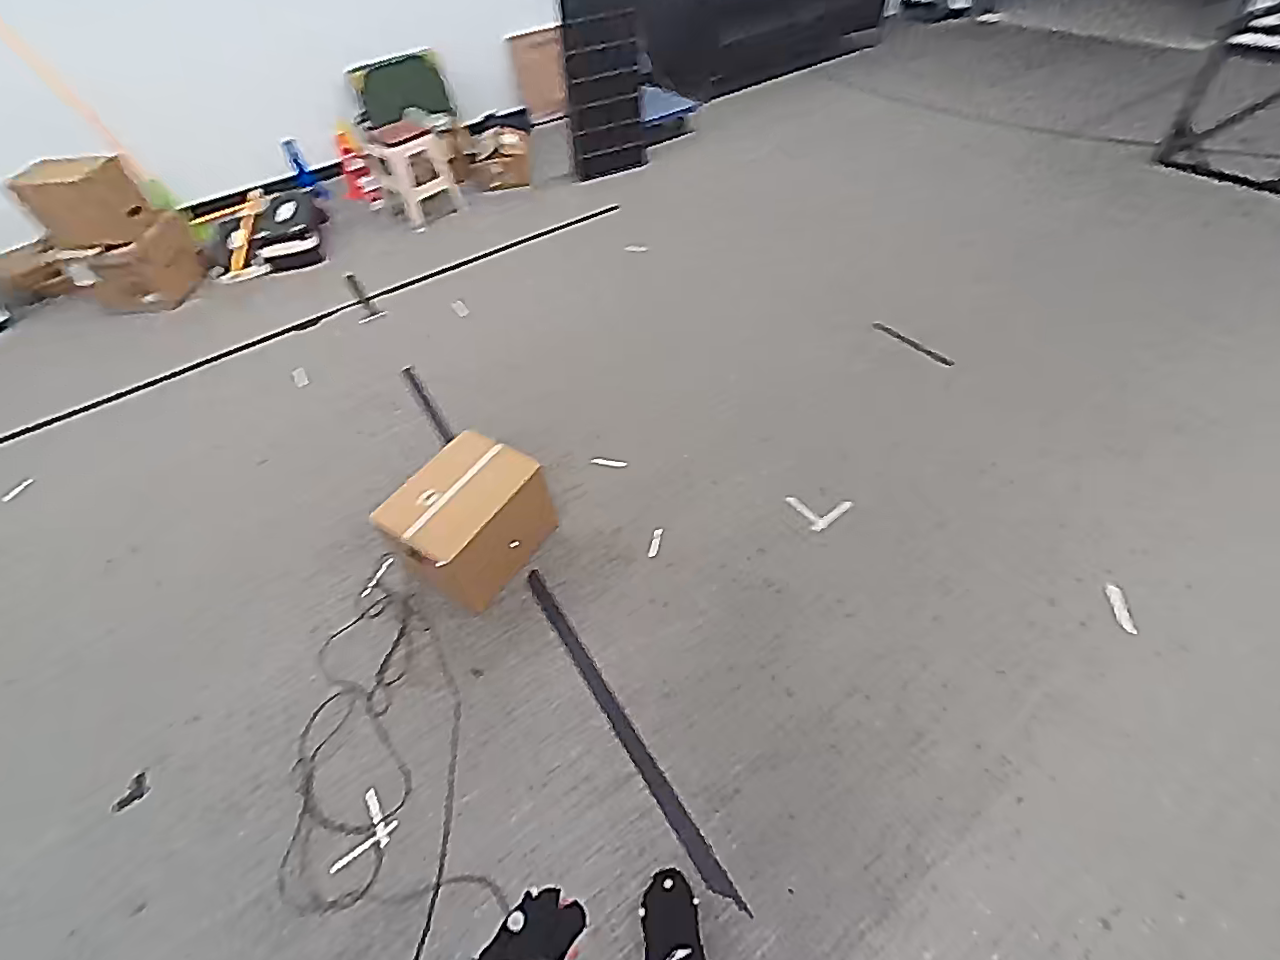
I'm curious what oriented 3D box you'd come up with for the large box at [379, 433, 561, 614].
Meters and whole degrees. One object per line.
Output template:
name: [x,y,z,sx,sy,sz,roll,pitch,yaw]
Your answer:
large box: [-0.504,0.132,1.693,0.320,0.320,0.408,24,57,23]
